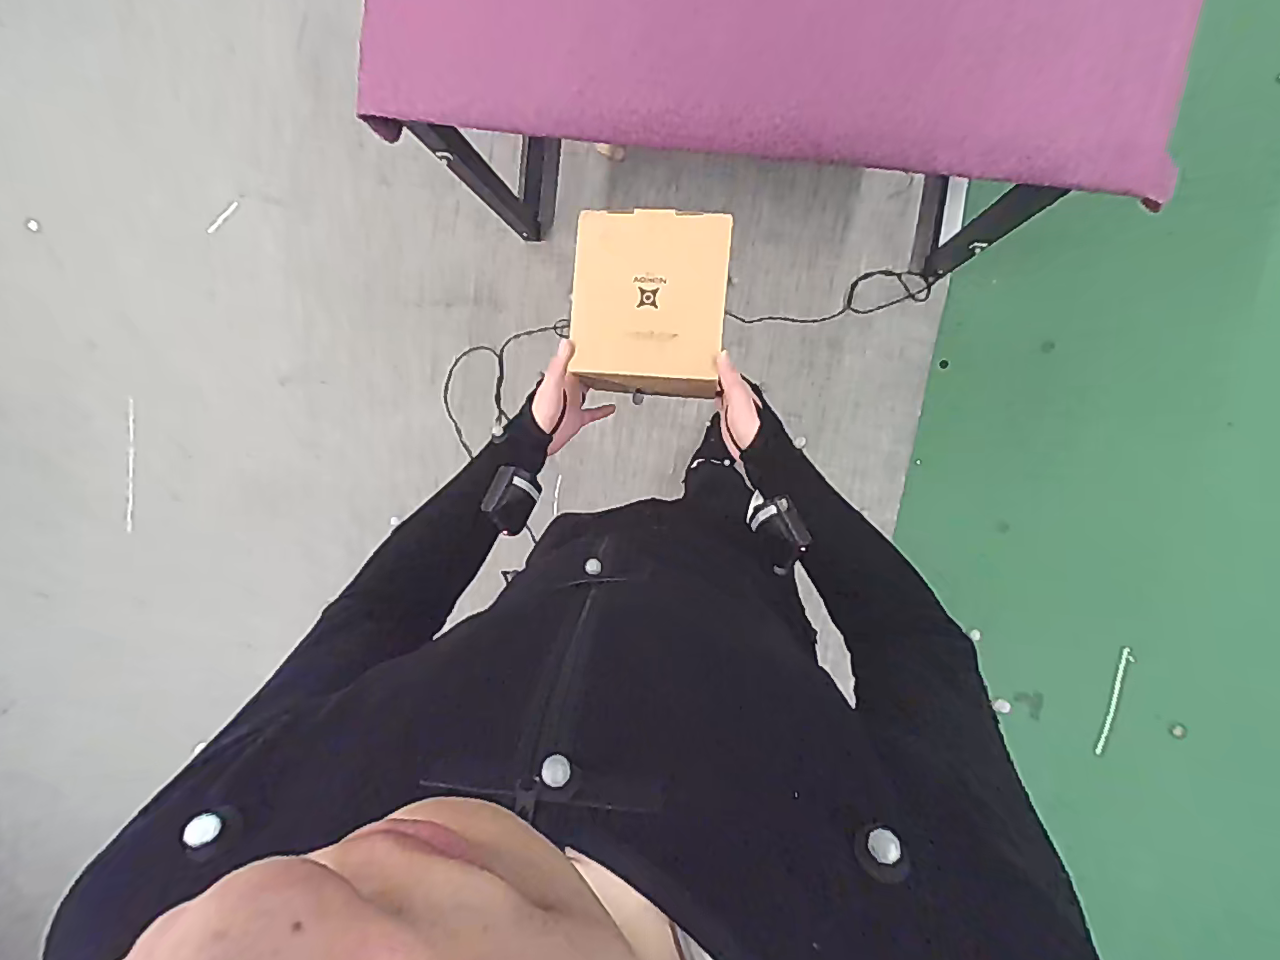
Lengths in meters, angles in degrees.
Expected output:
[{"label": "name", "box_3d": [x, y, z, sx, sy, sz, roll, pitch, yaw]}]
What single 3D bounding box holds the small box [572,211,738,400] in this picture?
[{"label": "small box", "box_3d": [0.021, -0.198, 0.656, 0.168, 0.176, 0.179, 5, 94, 5]}]
